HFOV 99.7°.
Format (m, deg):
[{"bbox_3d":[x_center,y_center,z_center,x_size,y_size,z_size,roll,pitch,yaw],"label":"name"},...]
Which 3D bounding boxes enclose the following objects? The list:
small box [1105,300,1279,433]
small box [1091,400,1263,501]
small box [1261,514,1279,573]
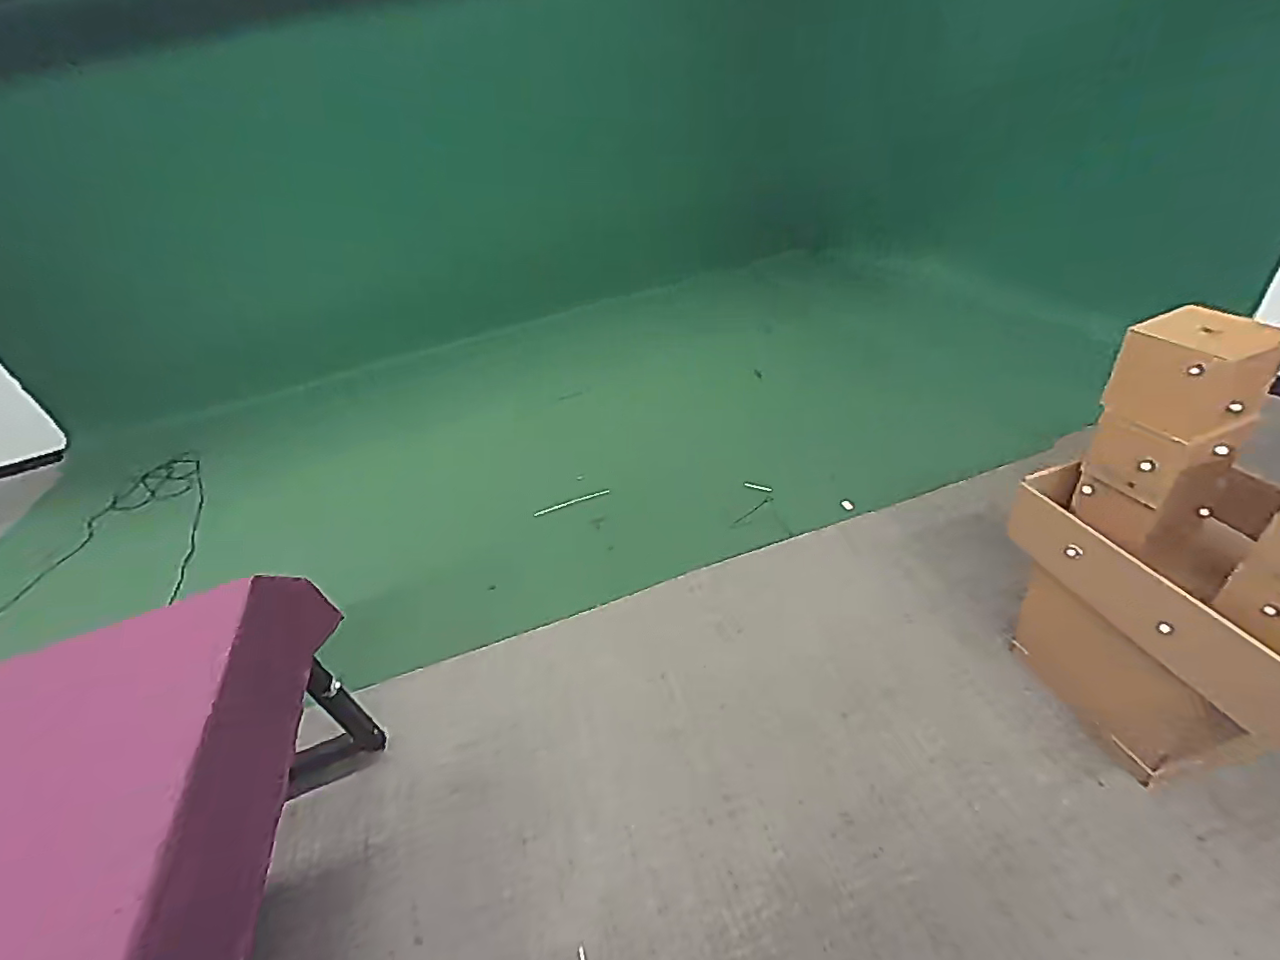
[{"bbox_3d":[1.045,-0.215,1.021,0.168,0.176,0.179,-21,39,-10],"label":"small box"},{"bbox_3d":[1.078,-0.082,1.109,0.179,0.176,0.168,-20,38,-9],"label":"small box"},{"bbox_3d":[1.159,0.098,0.850,0.179,0.176,0.168,-17,37,-3],"label":"small box"}]
